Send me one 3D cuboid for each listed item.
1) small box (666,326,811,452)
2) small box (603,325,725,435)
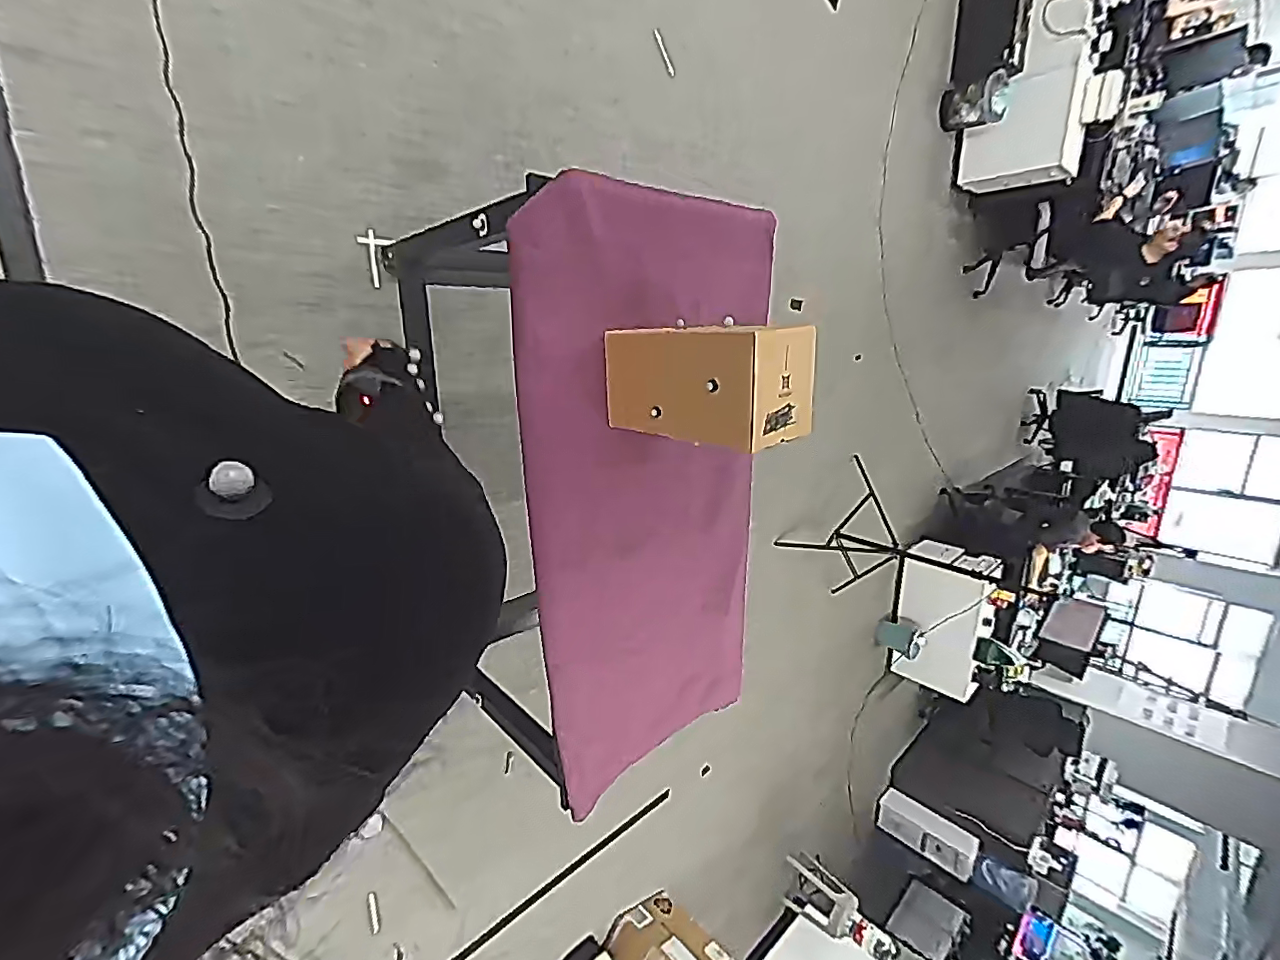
[{"bbox_3d":[0.155,-0.155,0.876,0.168,0.176,0.179,-17,113,-41],"label":"small box"},{"bbox_3d":[0.045,-0.190,0.994,0.168,0.176,0.179,-17,113,-41],"label":"small box"}]
